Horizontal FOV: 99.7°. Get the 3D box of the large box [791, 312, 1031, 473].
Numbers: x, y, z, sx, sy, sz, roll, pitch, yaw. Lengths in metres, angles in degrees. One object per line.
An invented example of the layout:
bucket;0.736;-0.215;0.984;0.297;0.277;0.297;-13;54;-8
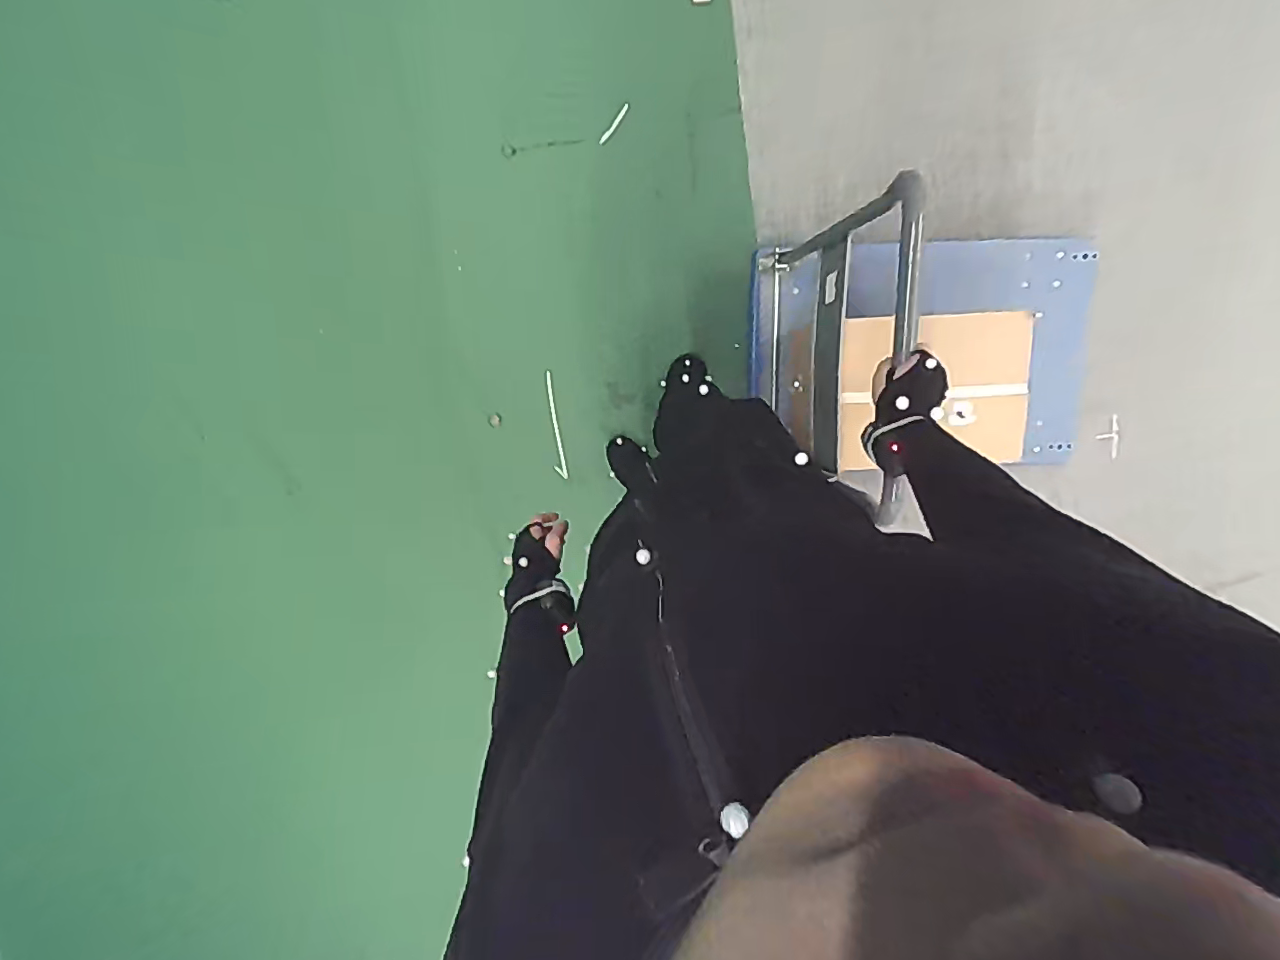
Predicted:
large box;0.595;-0.203;1.260;0.408;0.320;0.320;-3;101;-1
